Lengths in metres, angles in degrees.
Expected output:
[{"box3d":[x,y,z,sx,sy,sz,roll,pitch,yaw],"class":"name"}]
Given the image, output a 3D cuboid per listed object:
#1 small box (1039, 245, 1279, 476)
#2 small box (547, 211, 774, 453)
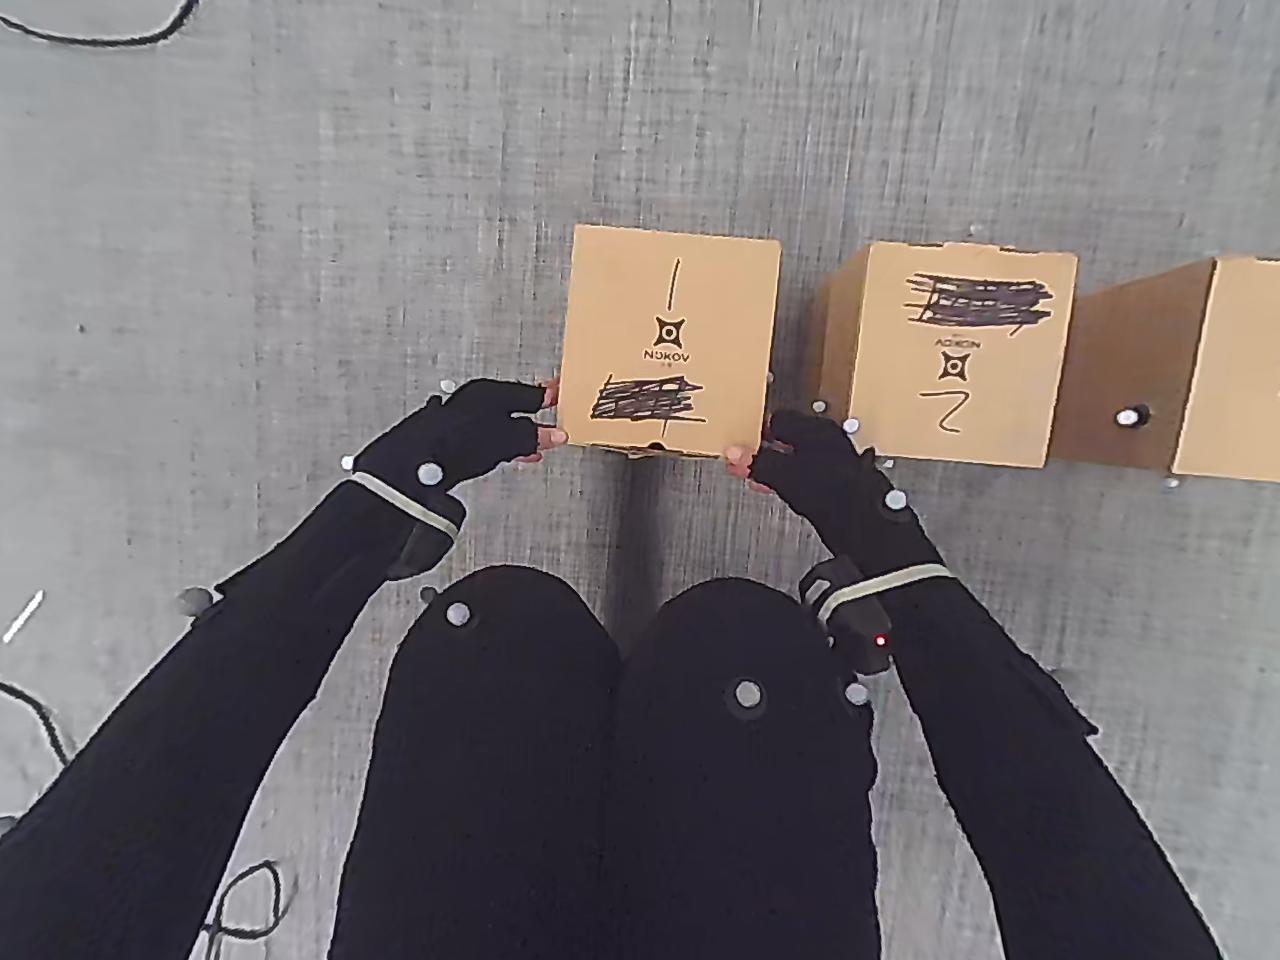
[{"box3d":[0.518,-0.101,0.506,0.168,0.176,0.179,5,97,3],"class":"small box"},{"box3d":[0.017,-0.121,0.507,0.168,0.176,0.179,6,93,0],"class":"small box"}]
